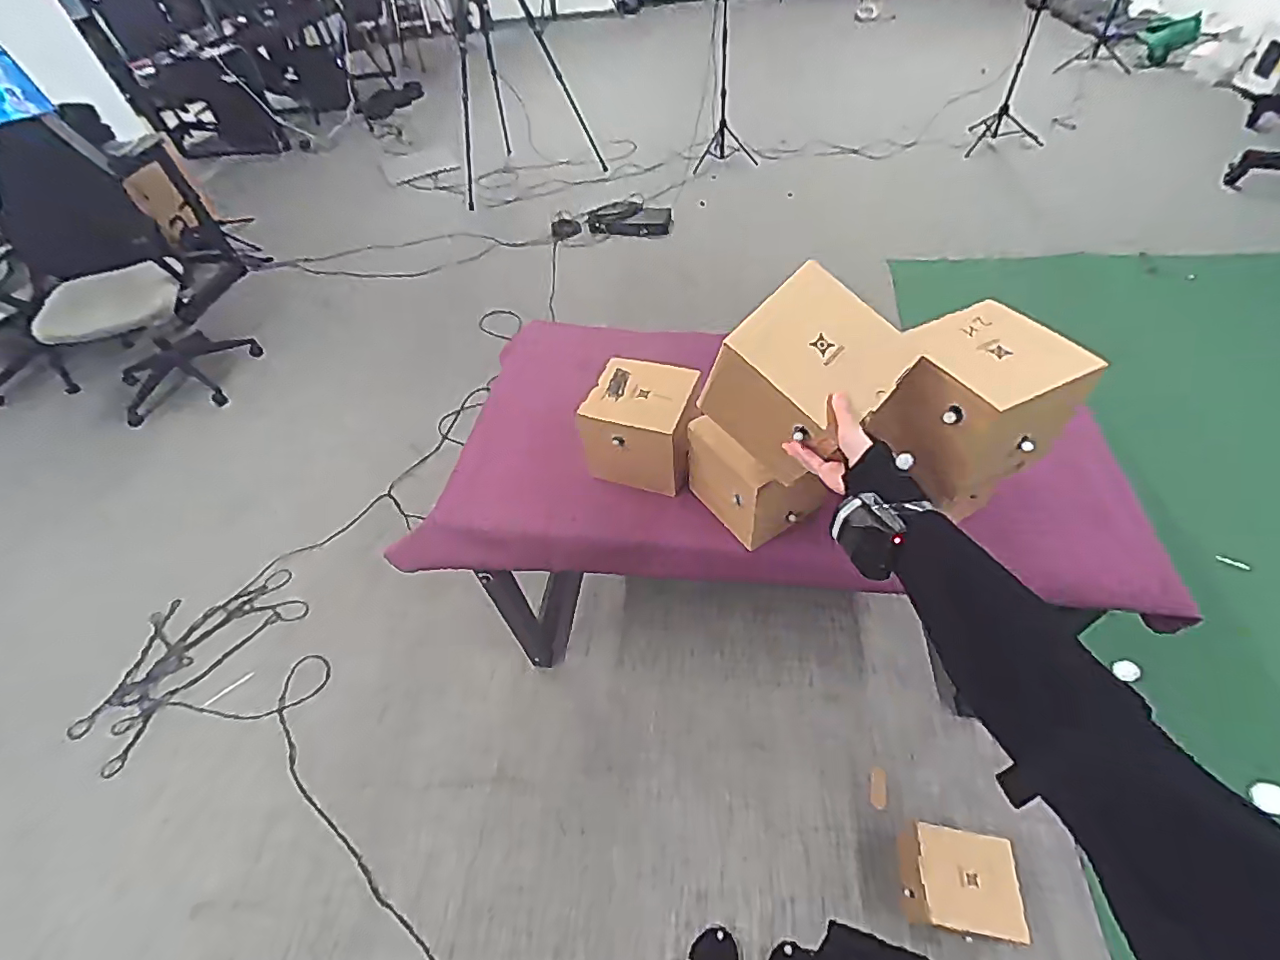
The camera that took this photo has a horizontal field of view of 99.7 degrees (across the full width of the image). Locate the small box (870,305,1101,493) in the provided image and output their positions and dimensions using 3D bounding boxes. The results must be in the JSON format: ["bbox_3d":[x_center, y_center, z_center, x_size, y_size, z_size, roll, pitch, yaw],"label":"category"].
[{"bbox_3d":[0.449,-0.103,0.737,0.168,0.176,0.179,-21,49,-12],"label":"small box"}]

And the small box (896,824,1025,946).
[{"bbox_3d":[0.635,0.826,1.101,0.179,0.176,0.168,5,51,10],"label":"small box"}]

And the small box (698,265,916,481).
[{"bbox_3d":[0.197,-0.125,0.693,0.179,0.176,0.168,43,73,7],"label":"small box"}]

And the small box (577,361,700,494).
[{"bbox_3d":[0.006,-0.095,1.002,0.179,0.176,0.168,13,53,16],"label":"small box"}]

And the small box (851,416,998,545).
[{"bbox_3d":[0.470,-0.025,0.887,0.179,0.176,0.168,-28,51,-16],"label":"small box"}]
